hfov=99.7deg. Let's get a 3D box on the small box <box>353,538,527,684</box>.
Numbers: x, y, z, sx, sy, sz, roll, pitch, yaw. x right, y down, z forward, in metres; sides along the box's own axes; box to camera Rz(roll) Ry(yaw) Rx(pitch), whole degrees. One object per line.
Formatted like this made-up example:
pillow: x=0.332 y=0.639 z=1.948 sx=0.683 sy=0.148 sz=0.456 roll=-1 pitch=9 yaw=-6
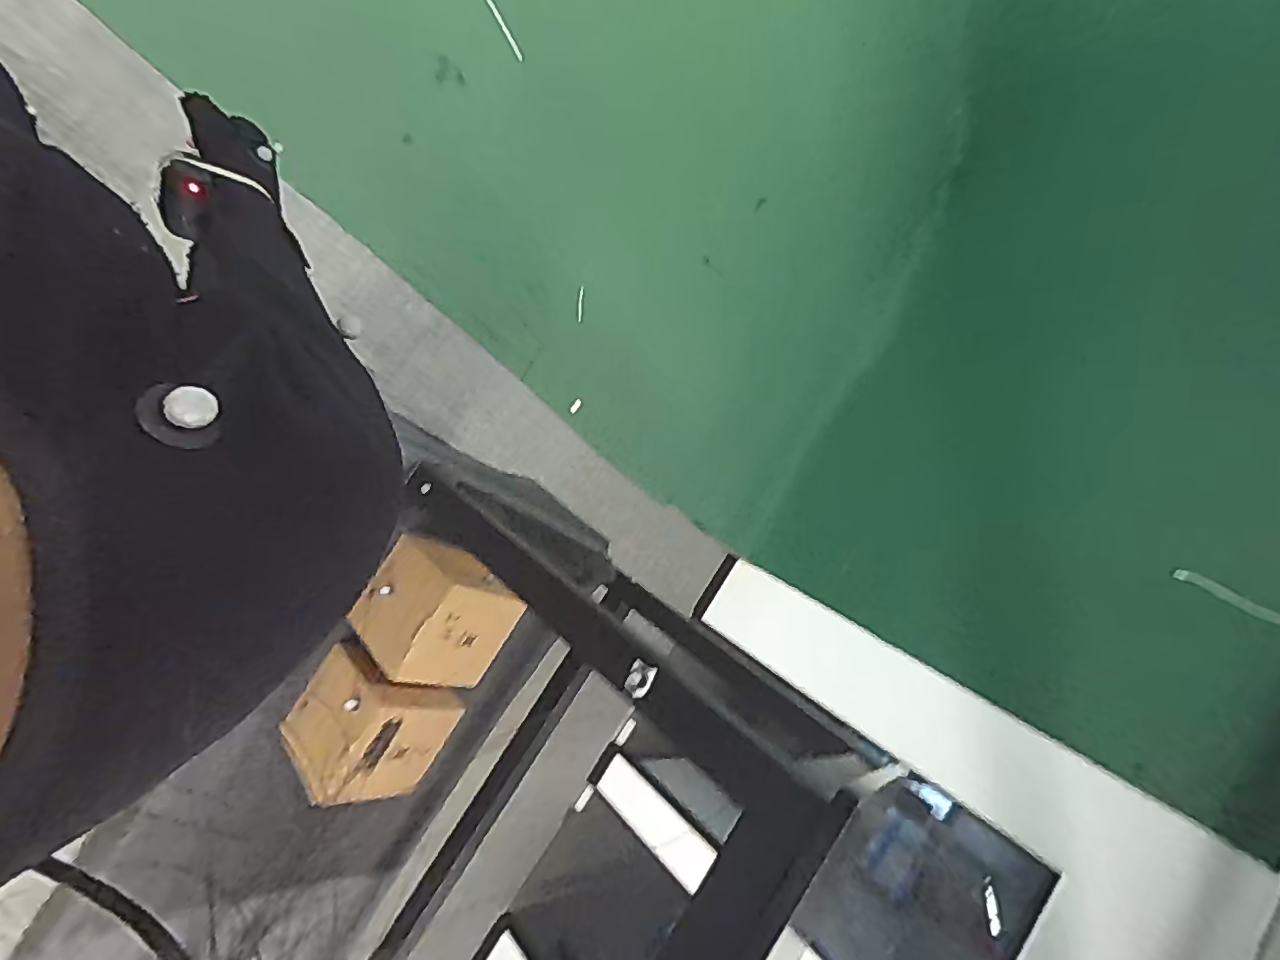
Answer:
small box: x=-0.333 y=0.218 z=0.904 sx=0.168 sy=0.176 sz=0.179 roll=-58 pitch=144 yaw=-4
